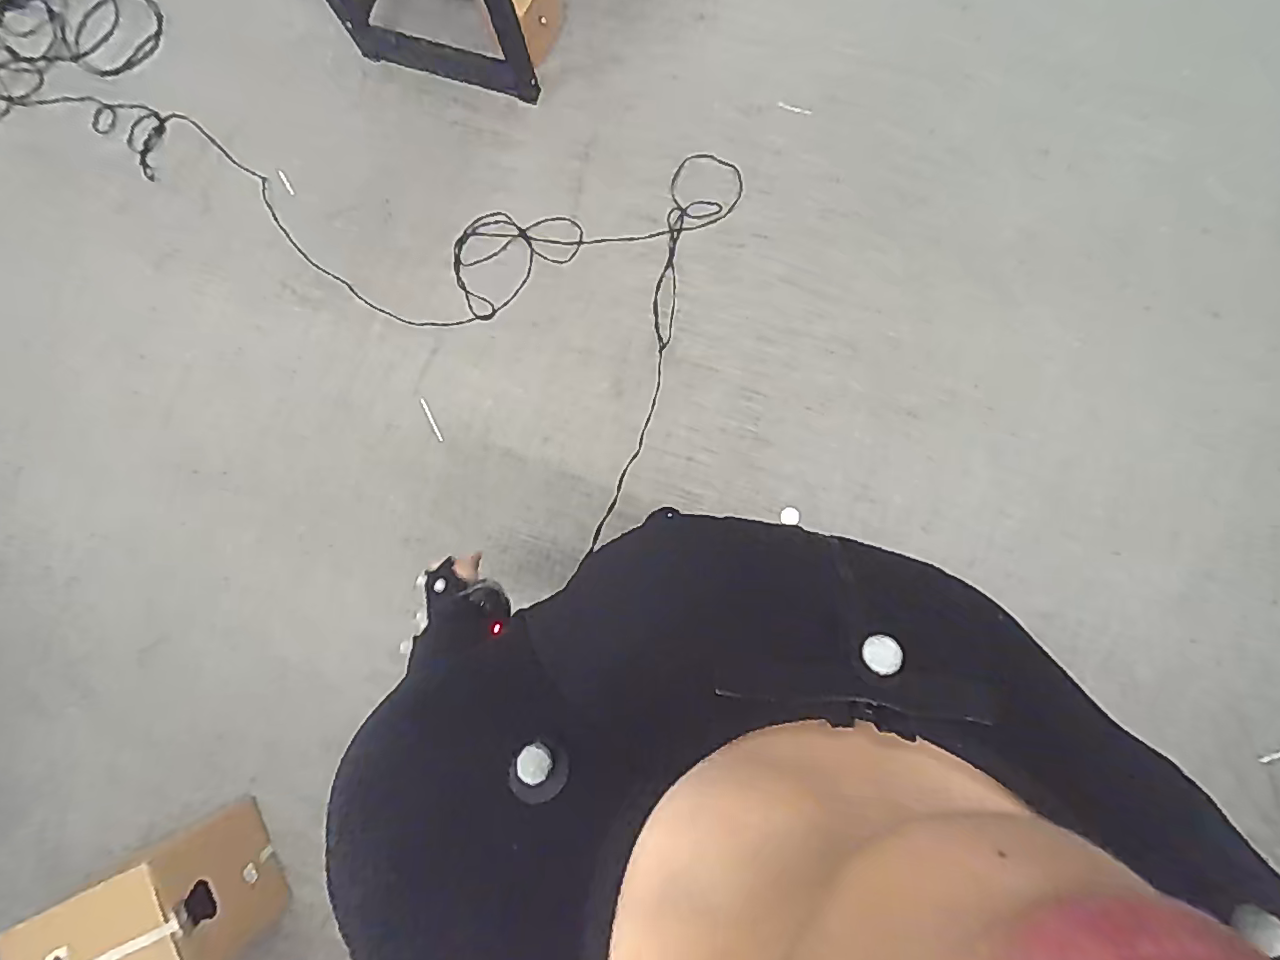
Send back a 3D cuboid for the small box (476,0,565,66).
[{"bbox_3d":[-0.337,-1.362,1.567,0.168,0.176,0.179,31,89,5],"label":"small box"}]
